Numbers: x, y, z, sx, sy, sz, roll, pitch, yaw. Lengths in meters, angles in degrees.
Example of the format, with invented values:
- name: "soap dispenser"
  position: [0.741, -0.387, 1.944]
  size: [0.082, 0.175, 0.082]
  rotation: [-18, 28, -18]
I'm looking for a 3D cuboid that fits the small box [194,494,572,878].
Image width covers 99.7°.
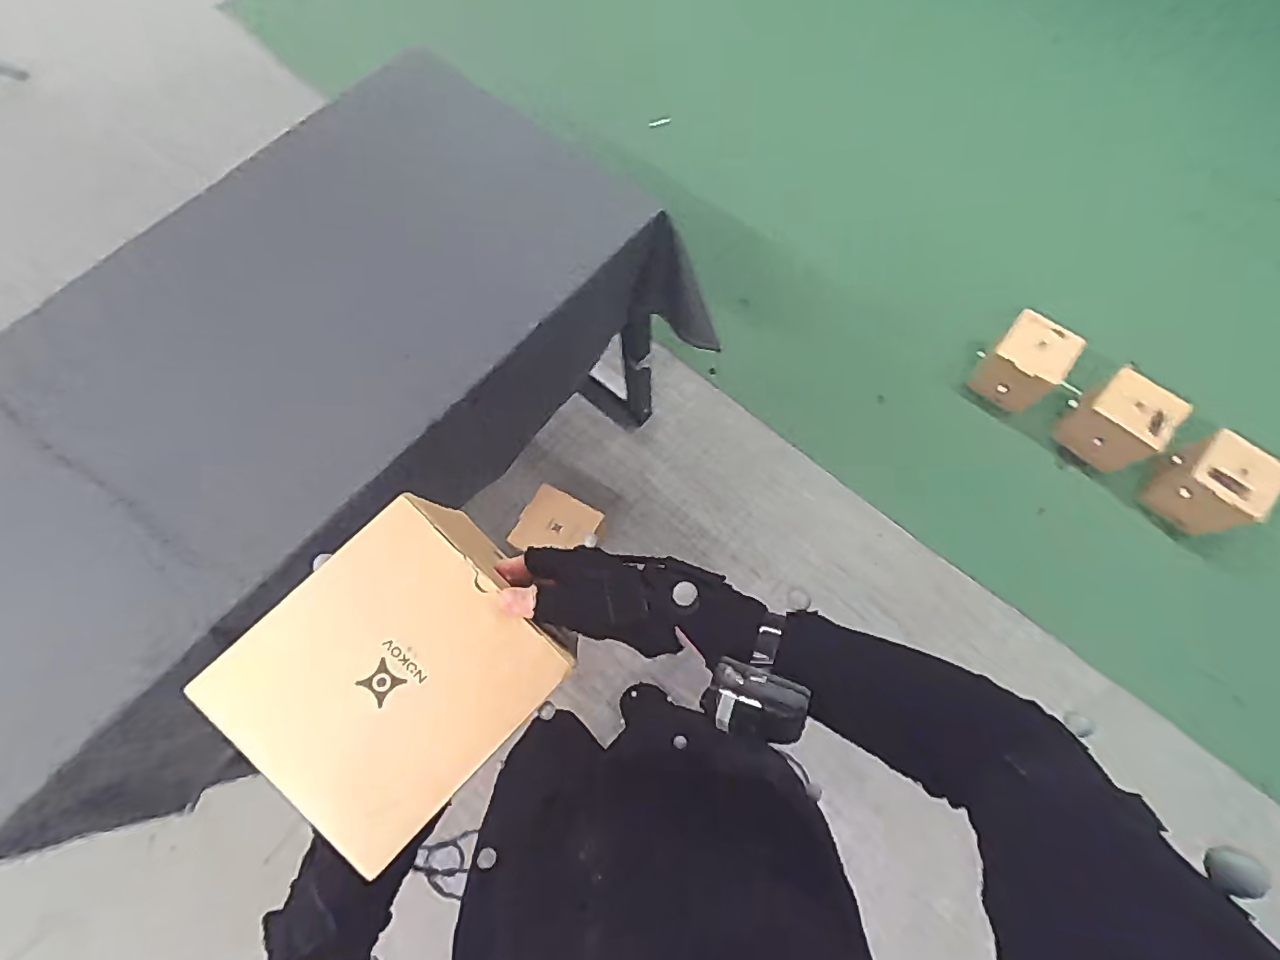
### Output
- name: "small box"
  position: [-0.165, 0.136, 0.419]
  size: [0.179, 0.176, 0.168]
  rotation: [-44, 88, -10]

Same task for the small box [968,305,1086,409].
- name: "small box"
  position: [1.028, -0.323, 1.457]
  size: [0.168, 0.176, 0.179]
  rotation: [38, 78, 13]

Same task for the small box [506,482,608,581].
- name: "small box"
  position: [-0.197, 0.134, 1.337]
  size: [0.179, 0.176, 0.168]
  rotation: [27, 75, 11]
